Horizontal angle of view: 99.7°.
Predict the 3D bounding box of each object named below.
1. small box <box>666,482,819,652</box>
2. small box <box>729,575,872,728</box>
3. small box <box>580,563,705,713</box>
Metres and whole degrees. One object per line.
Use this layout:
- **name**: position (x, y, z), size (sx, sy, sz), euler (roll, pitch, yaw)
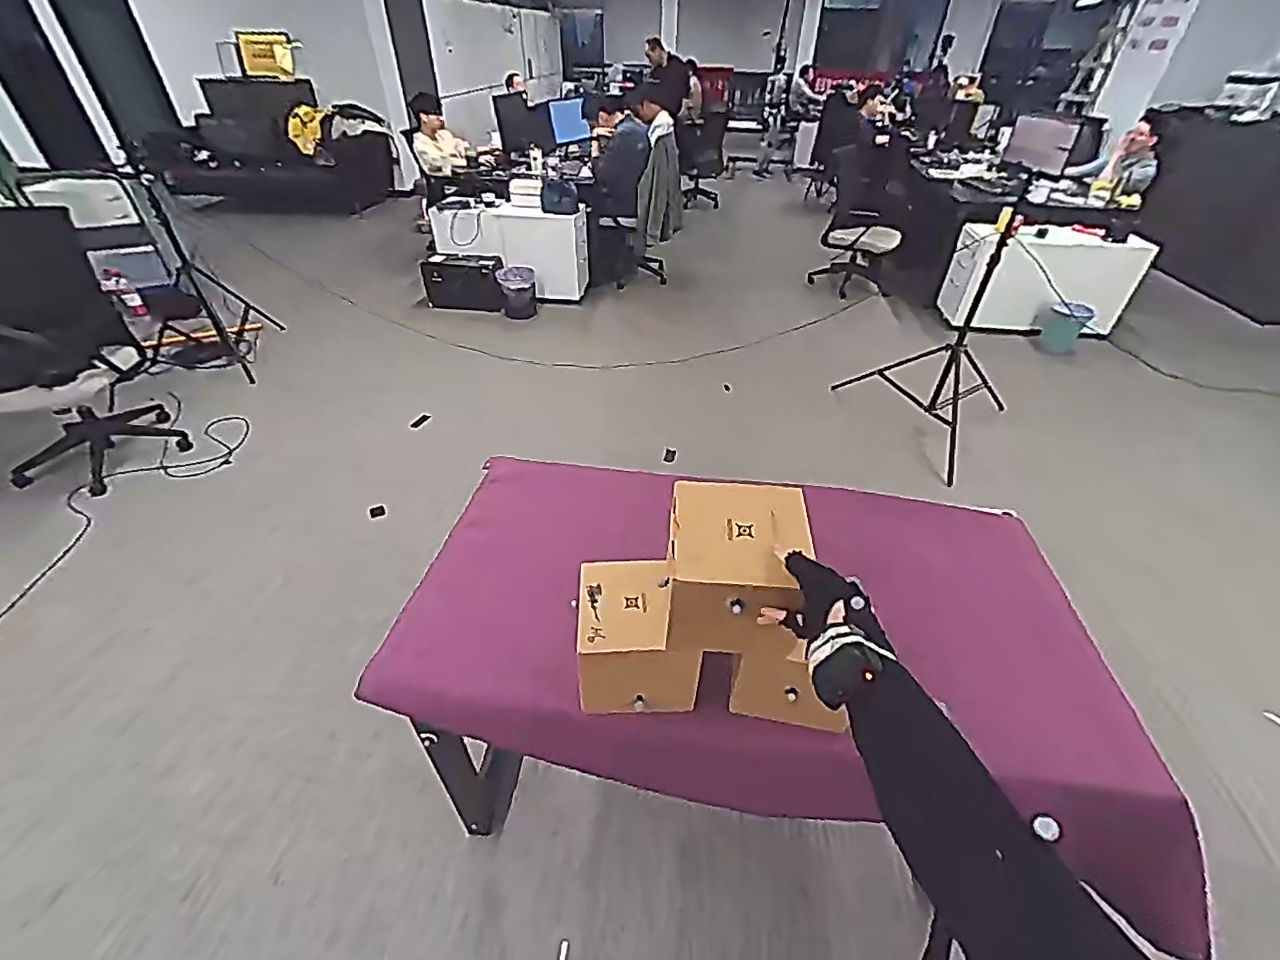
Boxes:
- **small box**: position (0.127, 0.121, 0.742), size (0.179, 0.176, 0.168), euler (4, 46, 1)
- **small box**: position (0.241, 0.260, 0.840), size (0.179, 0.176, 0.168), euler (7, 39, 9)
- **small box**: position (-0.003, 0.248, 0.852), size (0.179, 0.176, 0.168), euler (0, 38, -4)
